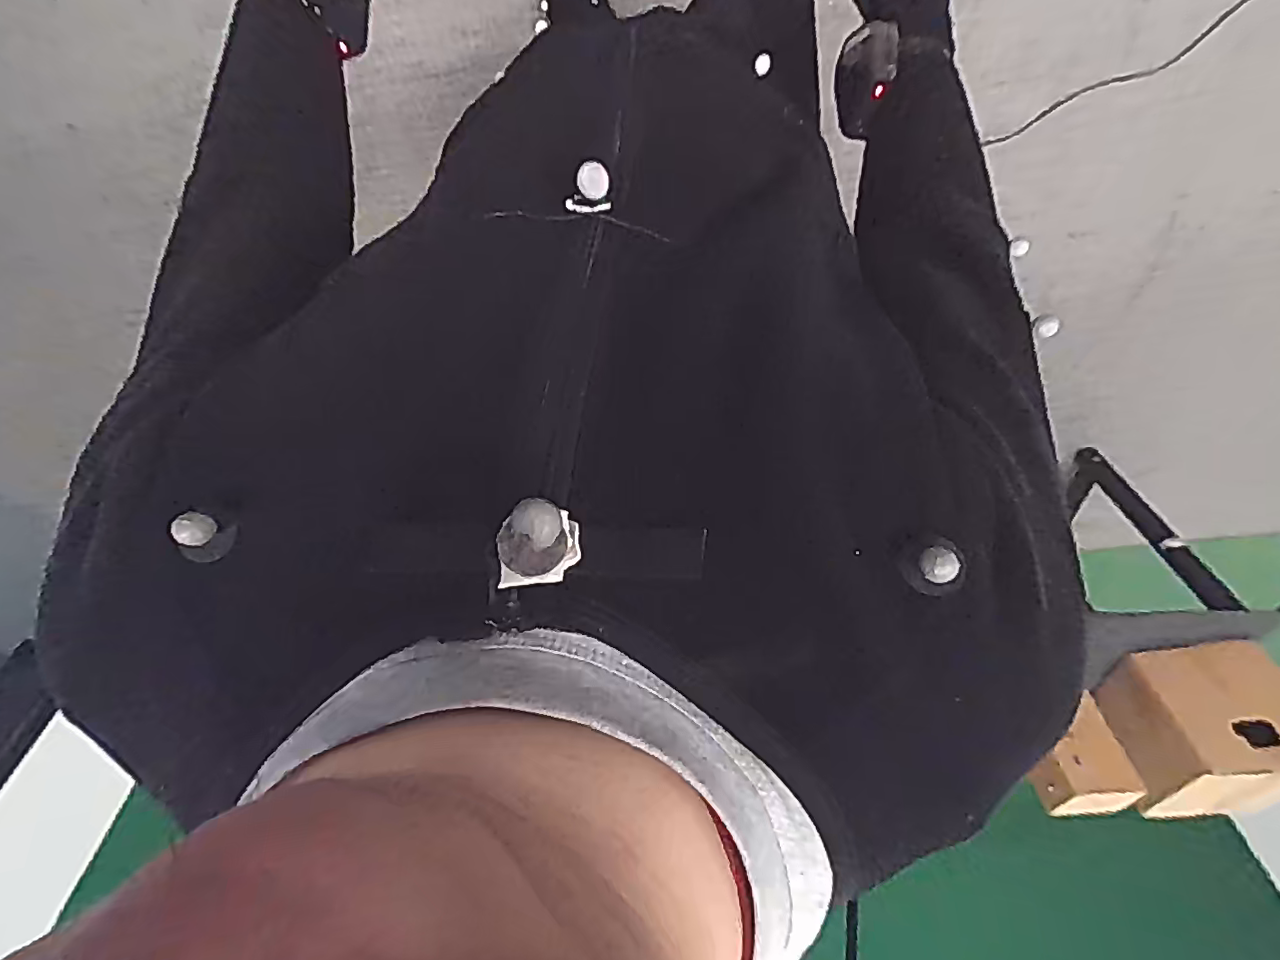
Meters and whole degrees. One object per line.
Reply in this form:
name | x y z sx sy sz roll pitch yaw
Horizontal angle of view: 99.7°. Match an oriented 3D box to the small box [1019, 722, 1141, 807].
small box | 1.159 0.757 1.445 0.168 0.176 0.179 -6 137 6
